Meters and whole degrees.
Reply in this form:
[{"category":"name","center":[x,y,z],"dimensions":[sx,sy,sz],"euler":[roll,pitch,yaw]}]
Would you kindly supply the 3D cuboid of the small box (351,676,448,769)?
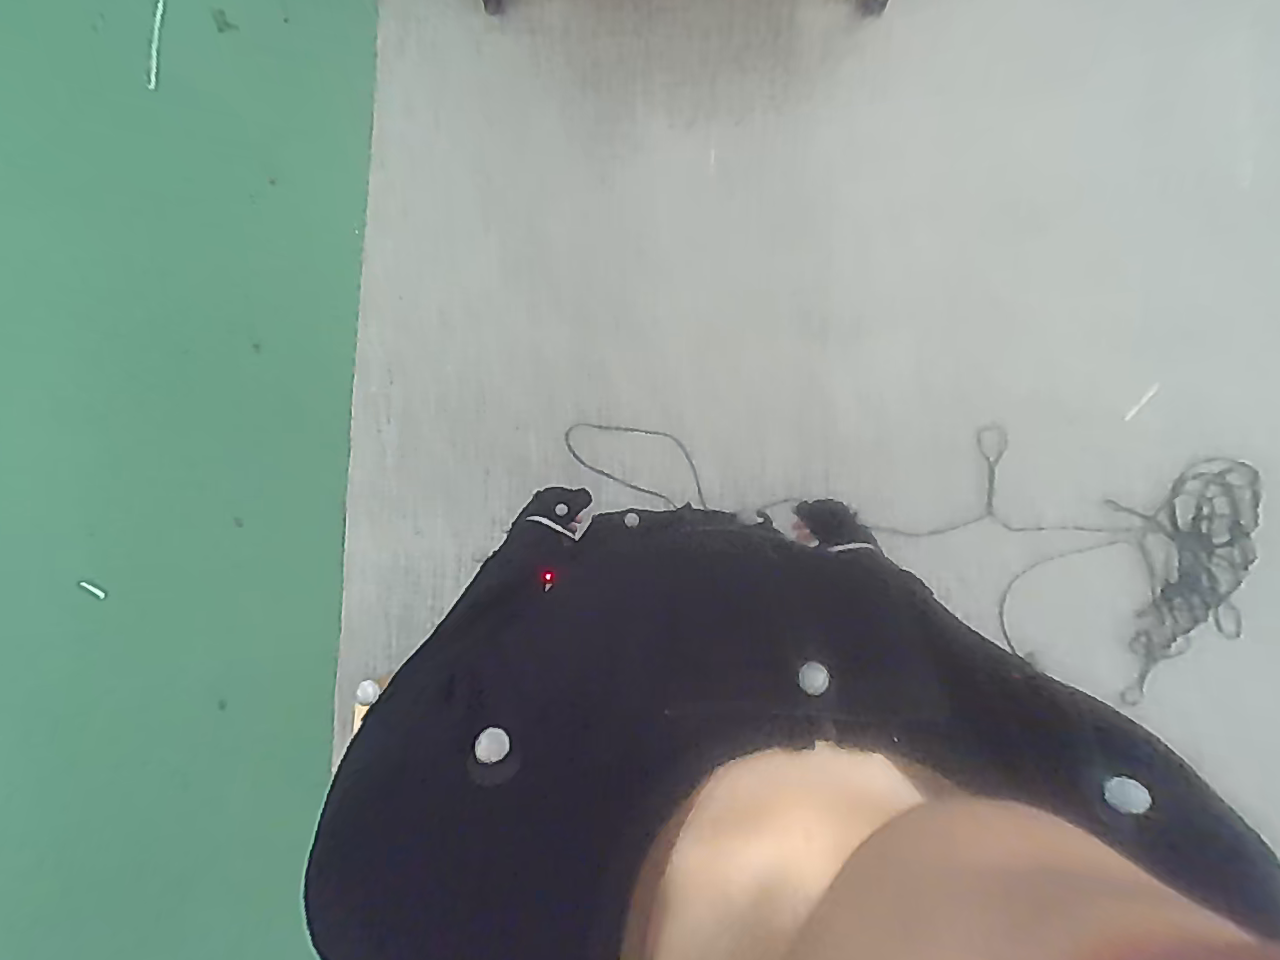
[{"category":"small box","center":[-0.600,0.605,1.369],"dimensions":[0.168,0.176,0.179],"euler":[2,85,1]}]
